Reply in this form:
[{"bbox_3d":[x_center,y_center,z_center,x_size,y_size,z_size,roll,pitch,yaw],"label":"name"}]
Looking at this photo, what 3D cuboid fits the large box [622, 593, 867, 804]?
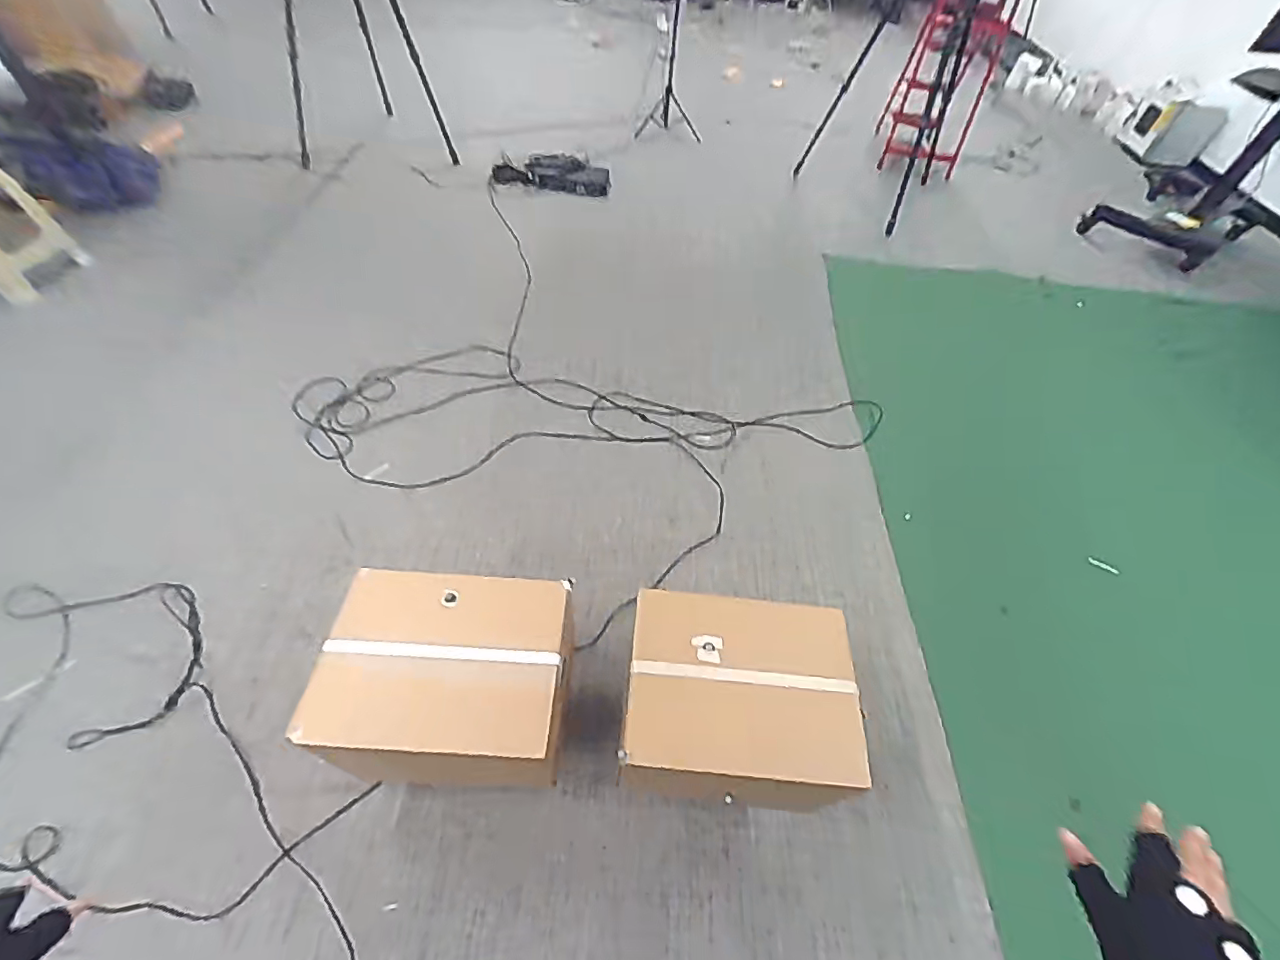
[{"bbox_3d":[0.181,0.450,1.095,0.408,0.320,0.320,6,52,0],"label":"large box"}]
